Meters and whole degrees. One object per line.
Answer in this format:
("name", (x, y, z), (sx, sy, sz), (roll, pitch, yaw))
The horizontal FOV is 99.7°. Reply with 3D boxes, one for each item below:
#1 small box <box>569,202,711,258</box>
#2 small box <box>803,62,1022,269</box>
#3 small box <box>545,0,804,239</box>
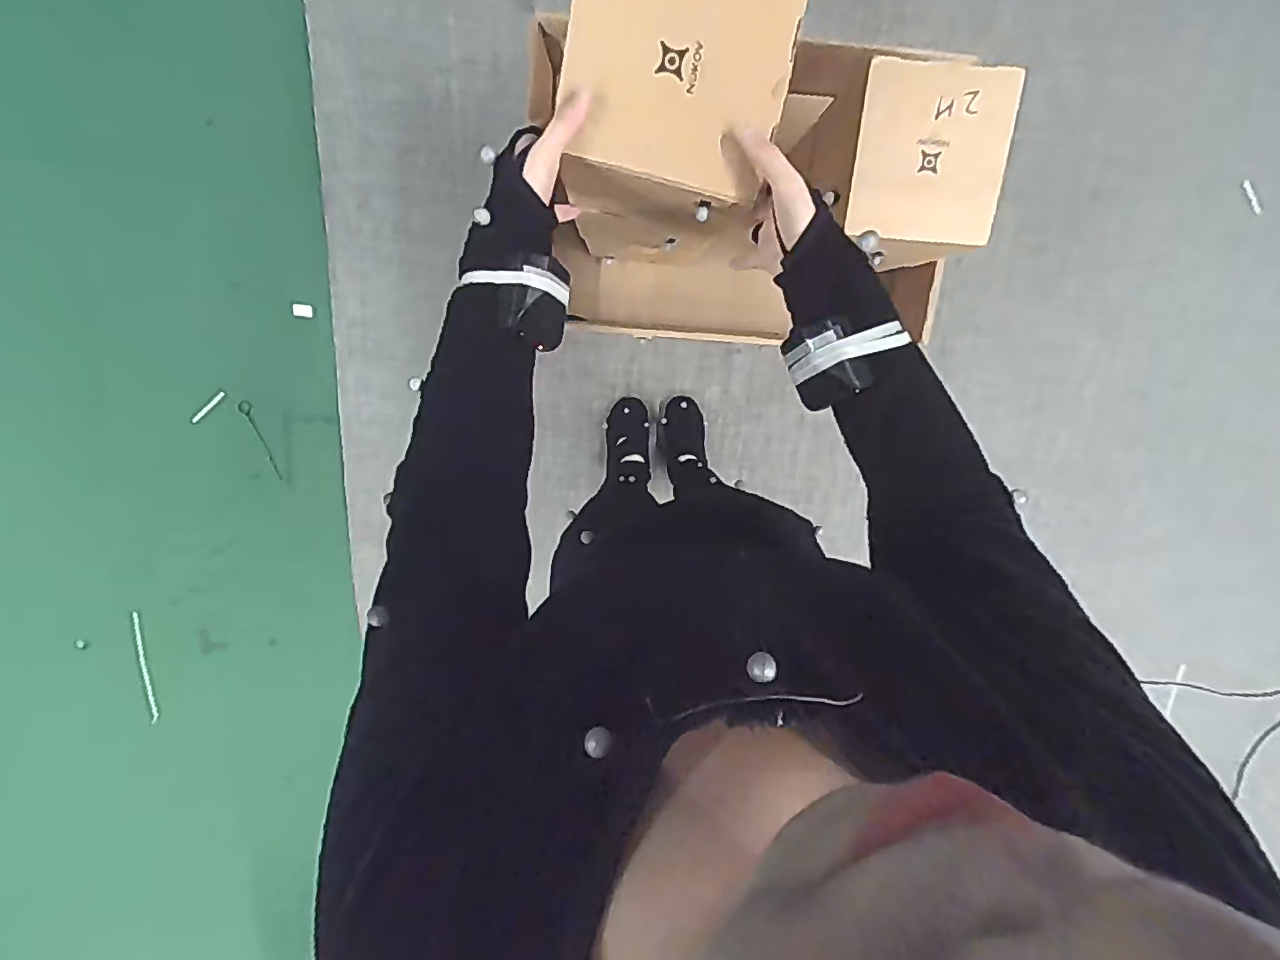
("small box", (0.015, -0.381, 0.654), (0.168, 0.176, 0.179), (9, 103, -4))
("small box", (0.310, -0.362, 0.658), (0.168, 0.176, 0.179), (5, 104, -2))
("small box", (0.023, -0.337, 0.498), (0.179, 0.176, 0.168), (12, 103, -6))
